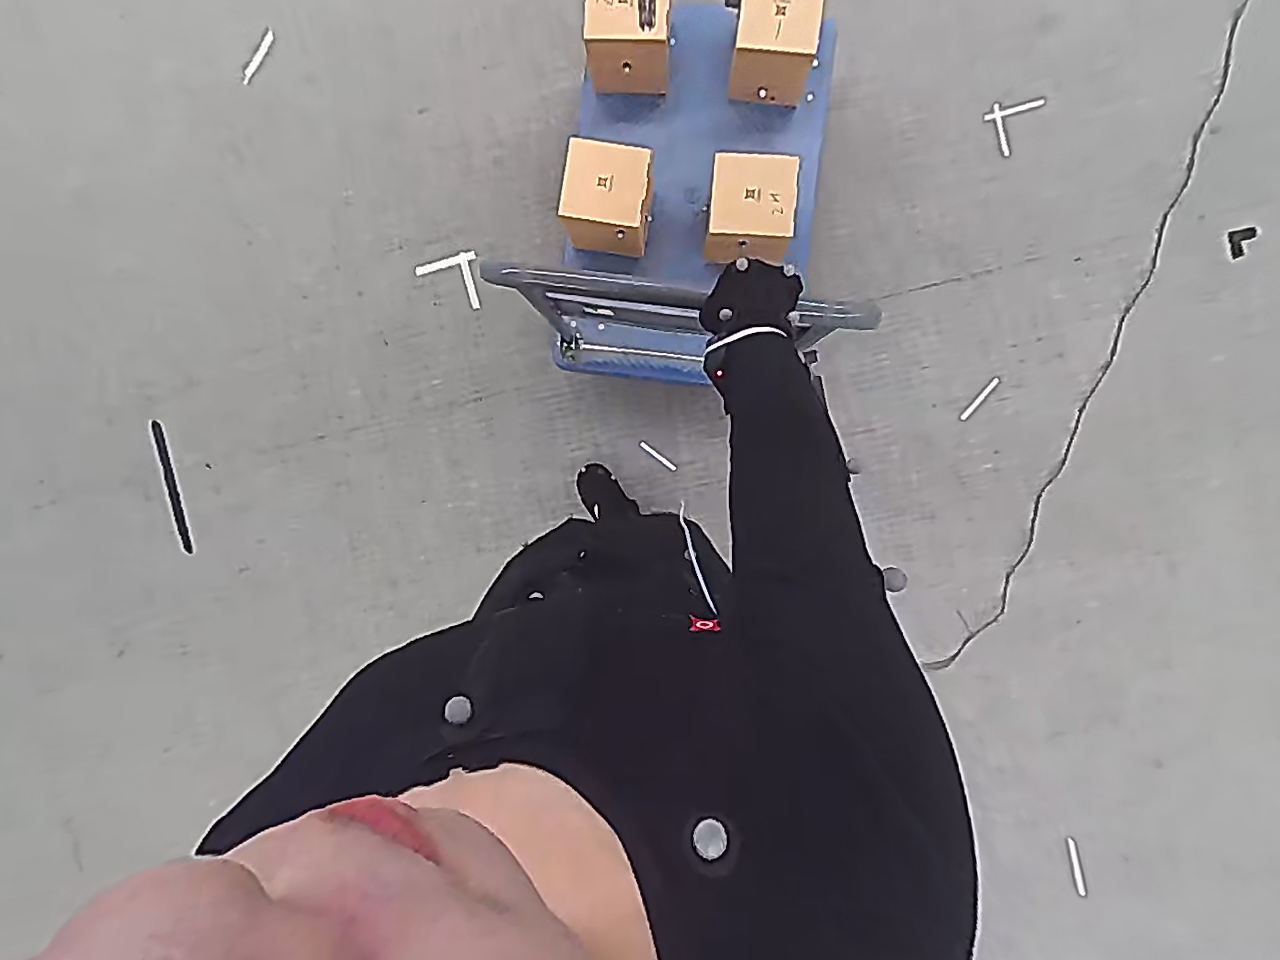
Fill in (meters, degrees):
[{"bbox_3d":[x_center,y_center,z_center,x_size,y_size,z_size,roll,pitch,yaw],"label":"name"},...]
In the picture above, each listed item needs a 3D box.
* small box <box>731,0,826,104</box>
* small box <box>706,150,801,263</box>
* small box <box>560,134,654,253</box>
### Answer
[{"bbox_3d":[0.295,-0.964,1.169,0.168,0.176,0.179,8,94,3],"label":"small box"},{"bbox_3d":[0.240,-0.591,1.186,0.179,0.176,0.168,5,93,3],"label":"small box"},{"bbox_3d":[-0.067,-0.626,1.202,0.179,0.176,0.168,10,92,1],"label":"small box"}]
